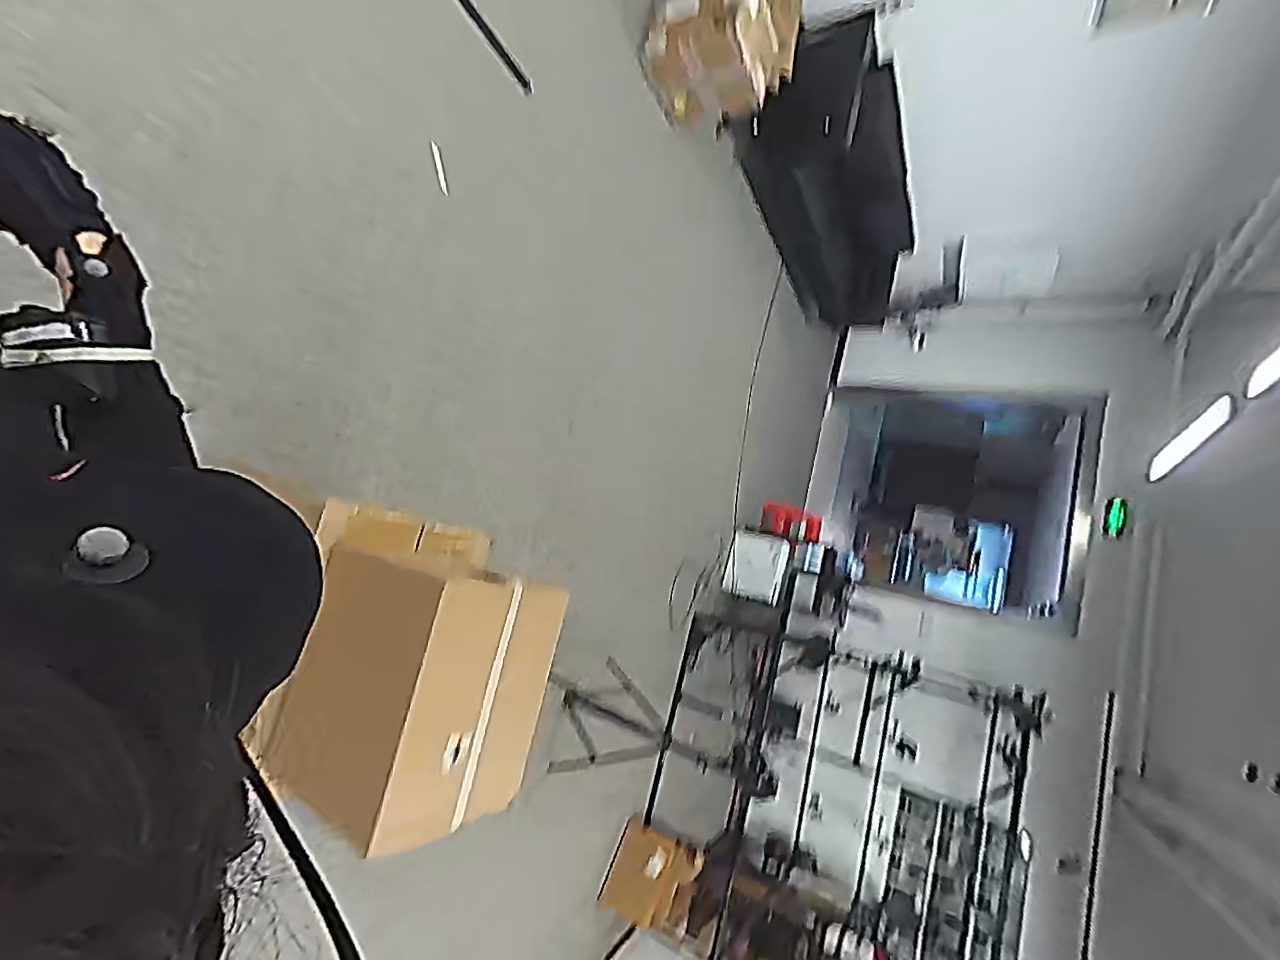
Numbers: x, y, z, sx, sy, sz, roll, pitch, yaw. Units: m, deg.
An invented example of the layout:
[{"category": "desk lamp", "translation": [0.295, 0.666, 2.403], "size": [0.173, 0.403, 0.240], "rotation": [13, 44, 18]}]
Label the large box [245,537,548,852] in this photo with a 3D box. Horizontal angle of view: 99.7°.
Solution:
[{"category": "large box", "translation": [-0.423, 0.343, 0.982], "size": [0.320, 0.320, 0.408], "rotation": [27, 75, -58]}]
